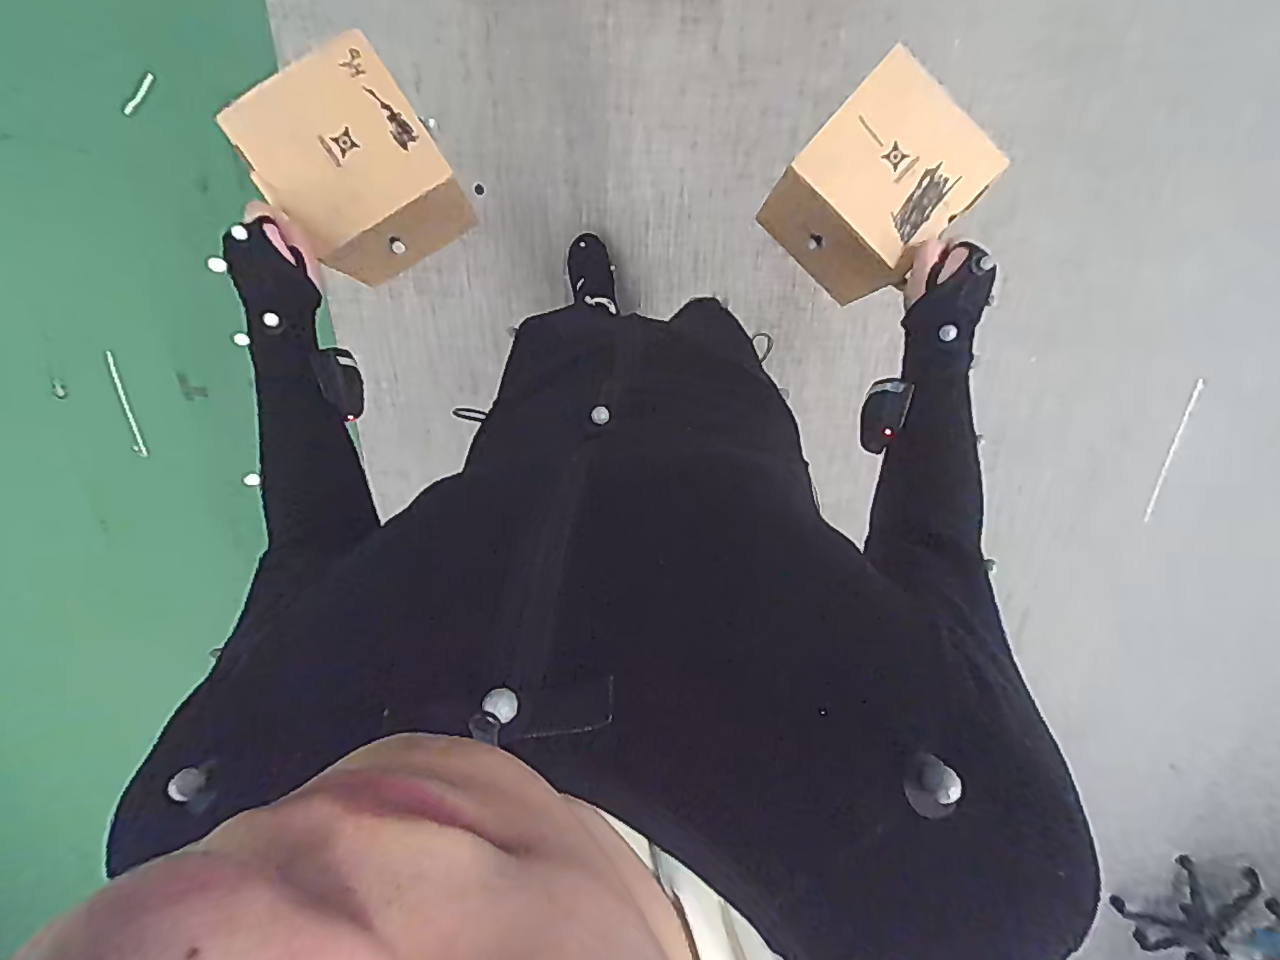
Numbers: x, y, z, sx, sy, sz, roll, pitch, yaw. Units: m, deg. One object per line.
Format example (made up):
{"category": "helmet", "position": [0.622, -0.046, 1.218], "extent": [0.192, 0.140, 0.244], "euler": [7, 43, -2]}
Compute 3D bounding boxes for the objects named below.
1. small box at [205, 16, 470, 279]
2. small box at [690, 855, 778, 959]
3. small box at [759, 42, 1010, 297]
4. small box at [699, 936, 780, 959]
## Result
{"category": "small box", "position": [-0.325, -0.358, 0.626], "extent": [0.179, 0.176, 0.168], "euler": [-32, 102, -1]}
{"category": "small box", "position": [0.208, 1.006, 1.247], "extent": [0.168, 0.176, 0.179], "euler": [0, 113, -2]}
{"category": "small box", "position": [0.270, -0.340, 0.641], "extent": [0.179, 0.176, 0.168], "euler": [43, 95, -6]}
{"category": "small box", "position": [0.211, 1.072, 1.098], "extent": [0.168, 0.176, 0.179], "euler": [-1, 113, 0]}
